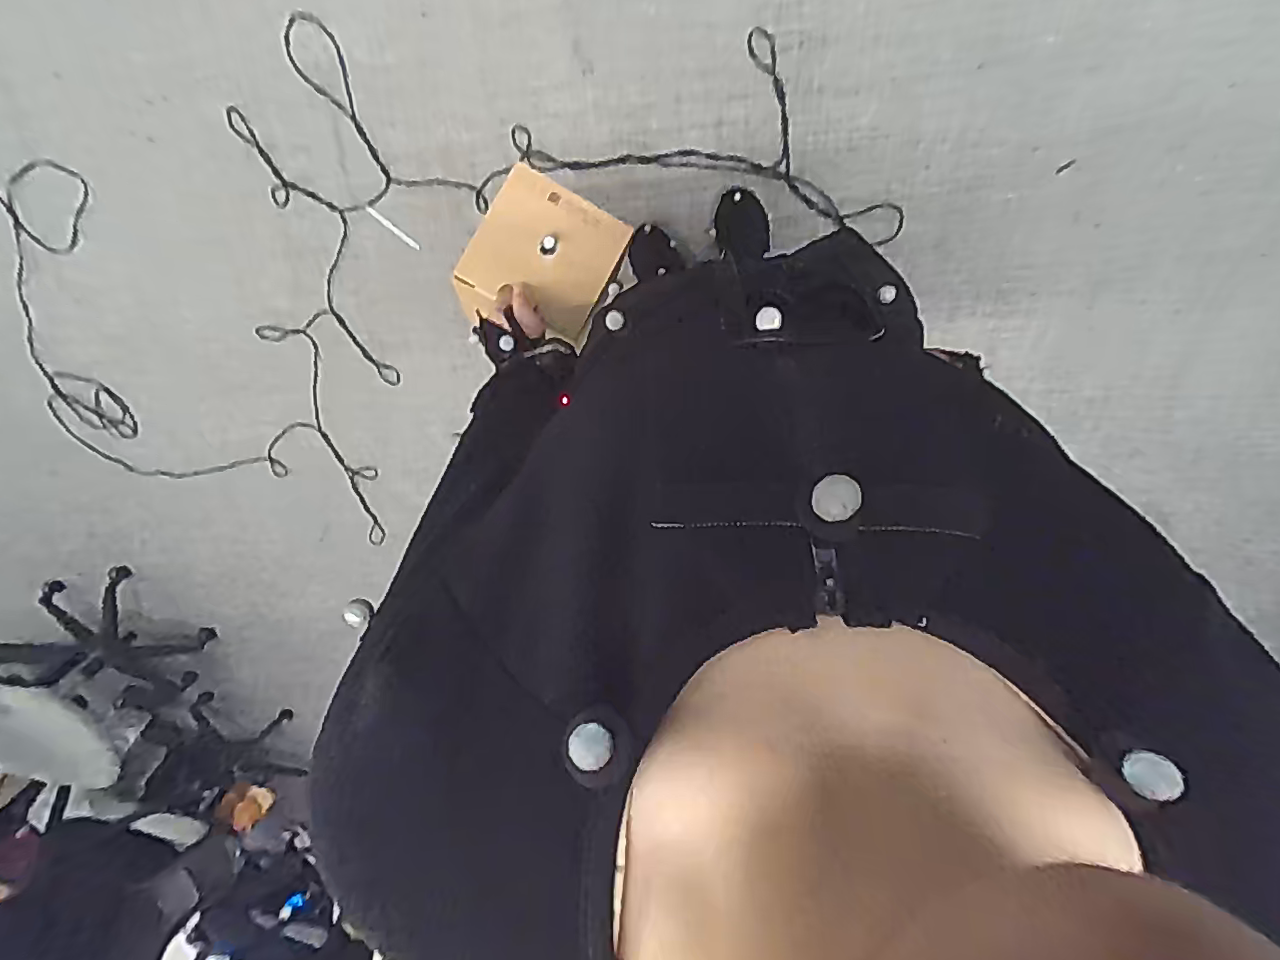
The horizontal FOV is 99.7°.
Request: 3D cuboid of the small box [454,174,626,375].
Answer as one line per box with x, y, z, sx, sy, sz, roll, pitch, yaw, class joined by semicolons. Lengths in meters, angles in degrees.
-0.133;-0.274;0.746;0.168;0.179;0.176;27;82;-8;small box
